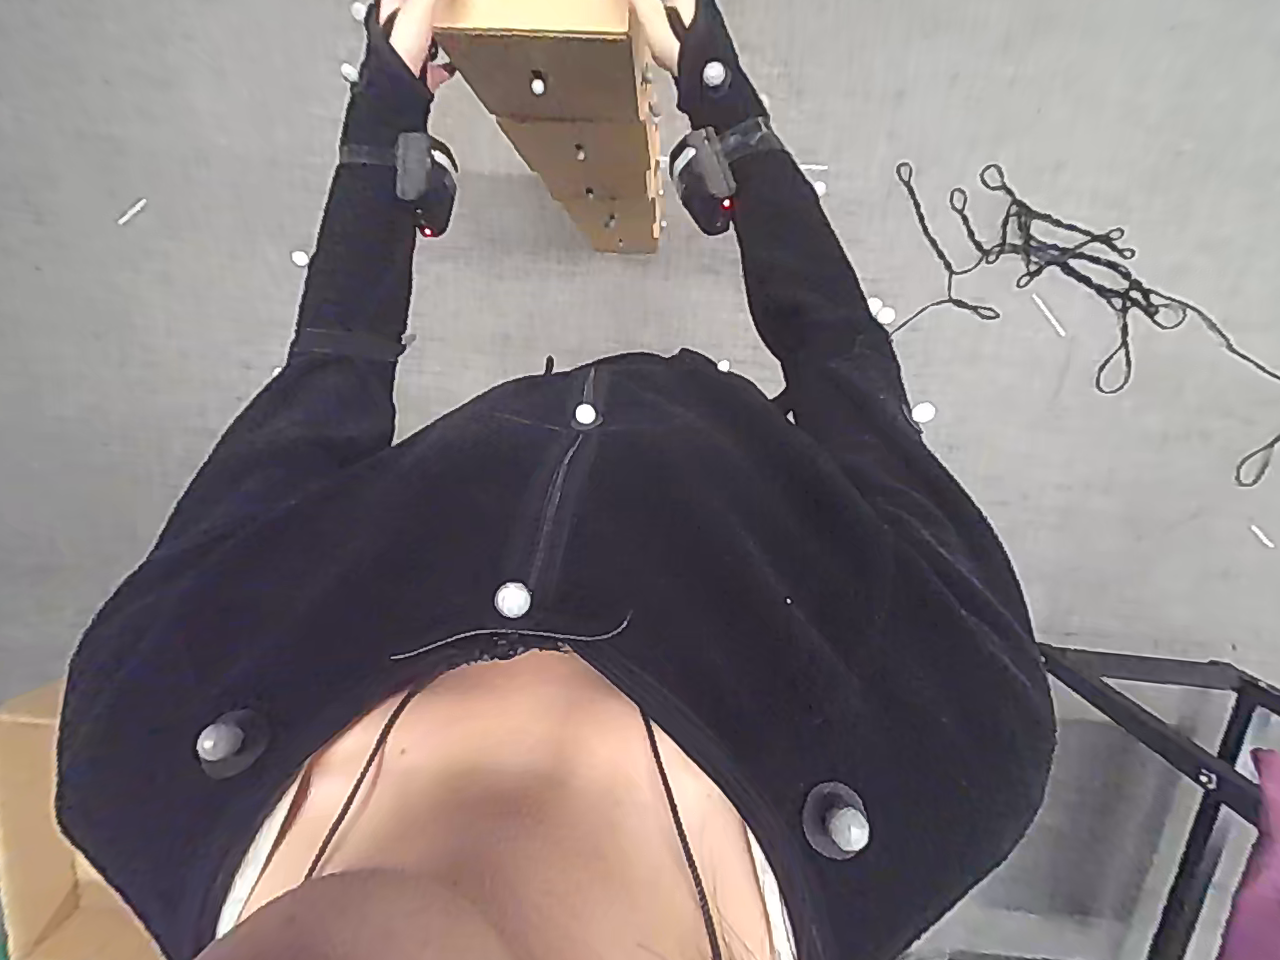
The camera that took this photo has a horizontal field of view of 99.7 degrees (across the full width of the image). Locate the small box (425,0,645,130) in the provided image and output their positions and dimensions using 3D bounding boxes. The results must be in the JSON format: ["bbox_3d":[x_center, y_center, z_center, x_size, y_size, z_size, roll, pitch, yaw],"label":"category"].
[{"bbox_3d":[-0.086,-0.462,0.519,0.179,0.176,0.168,4,101,3],"label":"small box"}]

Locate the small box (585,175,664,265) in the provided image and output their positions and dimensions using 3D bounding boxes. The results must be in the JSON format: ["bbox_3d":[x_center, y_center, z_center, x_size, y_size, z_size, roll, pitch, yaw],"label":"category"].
[{"bbox_3d":[-0.035,-0.630,1.318,0.179,0.176,0.168,3,100,1],"label":"small box"}]

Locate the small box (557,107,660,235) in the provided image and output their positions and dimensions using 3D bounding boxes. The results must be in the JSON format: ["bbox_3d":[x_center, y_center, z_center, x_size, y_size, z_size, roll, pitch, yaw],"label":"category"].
[{"bbox_3d":[-0.054,-0.563,0.999,0.179,0.176,0.168,2,100,1],"label":"small box"}]

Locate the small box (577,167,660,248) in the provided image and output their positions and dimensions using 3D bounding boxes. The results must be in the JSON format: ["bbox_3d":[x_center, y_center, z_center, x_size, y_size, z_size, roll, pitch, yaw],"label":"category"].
[{"bbox_3d":[-0.052,-0.604,1.157,0.179,0.176,0.168,4,101,1],"label":"small box"}]

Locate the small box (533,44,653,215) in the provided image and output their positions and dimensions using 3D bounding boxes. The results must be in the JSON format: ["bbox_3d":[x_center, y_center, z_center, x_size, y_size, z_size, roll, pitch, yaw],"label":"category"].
[{"bbox_3d":[-0.066,-0.532,0.839,0.168,0.176,0.179,2,101,3],"label":"small box"}]
